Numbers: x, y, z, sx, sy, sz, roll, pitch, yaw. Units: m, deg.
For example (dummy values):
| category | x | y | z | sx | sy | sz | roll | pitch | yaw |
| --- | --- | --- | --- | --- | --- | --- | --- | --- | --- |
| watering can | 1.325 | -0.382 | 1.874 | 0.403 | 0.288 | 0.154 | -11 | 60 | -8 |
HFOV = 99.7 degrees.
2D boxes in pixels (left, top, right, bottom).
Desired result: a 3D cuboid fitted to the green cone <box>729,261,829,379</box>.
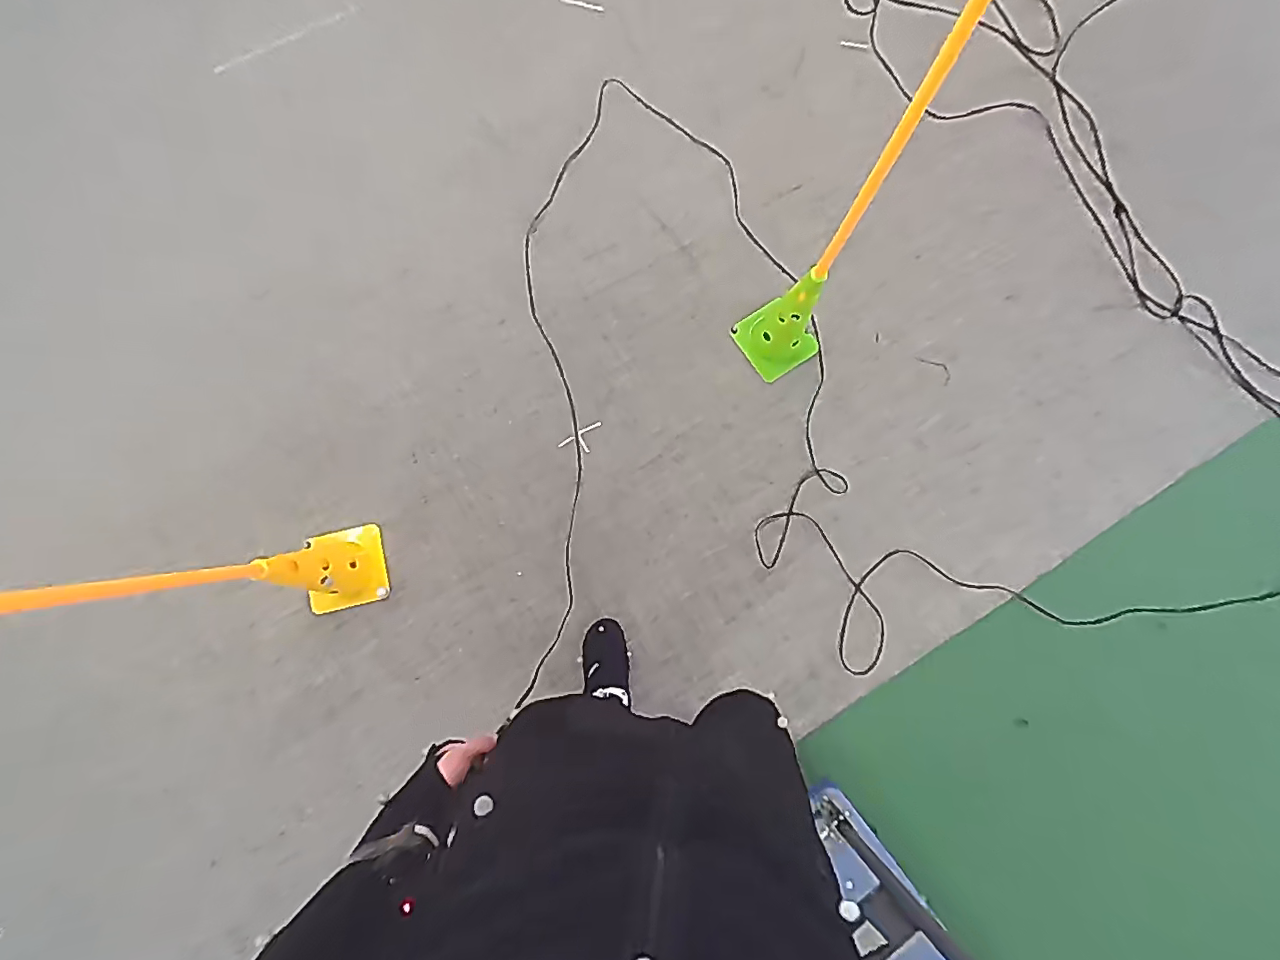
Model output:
| category | x | y | z | sx | sy | sz | roll | pitch | yaw |
| --- | --- | --- | --- | --- | --- | --- | --- | --- | --- |
| green cone | 0.393 | -0.439 | 1.386 | 0.202 | 0.368 | 0.200 | -34 | 84 | -8 |
